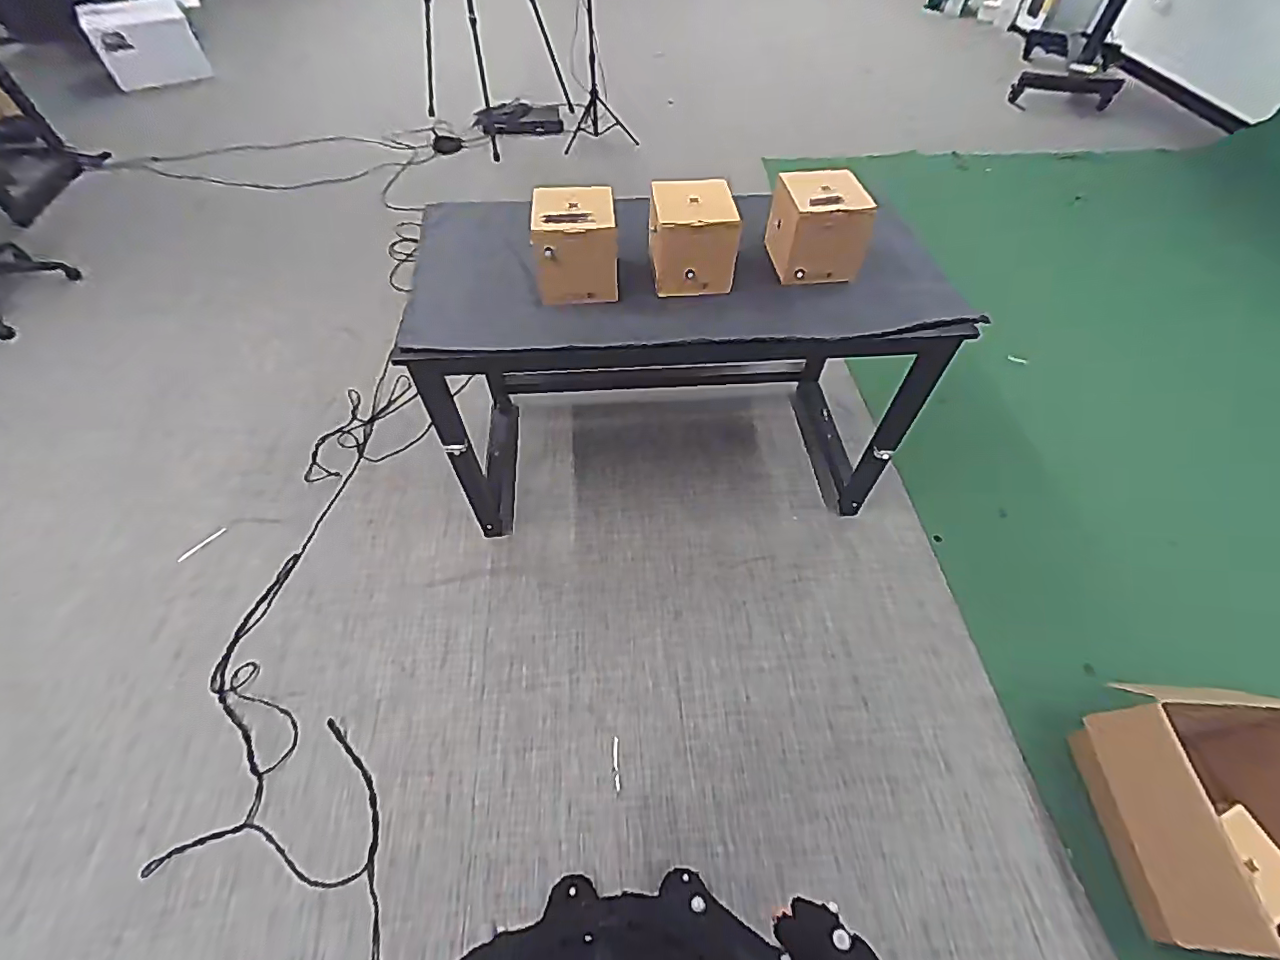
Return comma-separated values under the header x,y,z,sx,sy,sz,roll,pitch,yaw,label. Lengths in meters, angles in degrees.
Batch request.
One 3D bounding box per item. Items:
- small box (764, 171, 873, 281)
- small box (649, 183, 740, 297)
x,y,z,sx,sy,sz,roll,pitch,yaw,label
0.390,-0.562,1.211,0.168,0.176,0.179,-5,53,-4,small box
0.110,-0.525,1.186,0.168,0.176,0.179,-5,55,-4,small box
